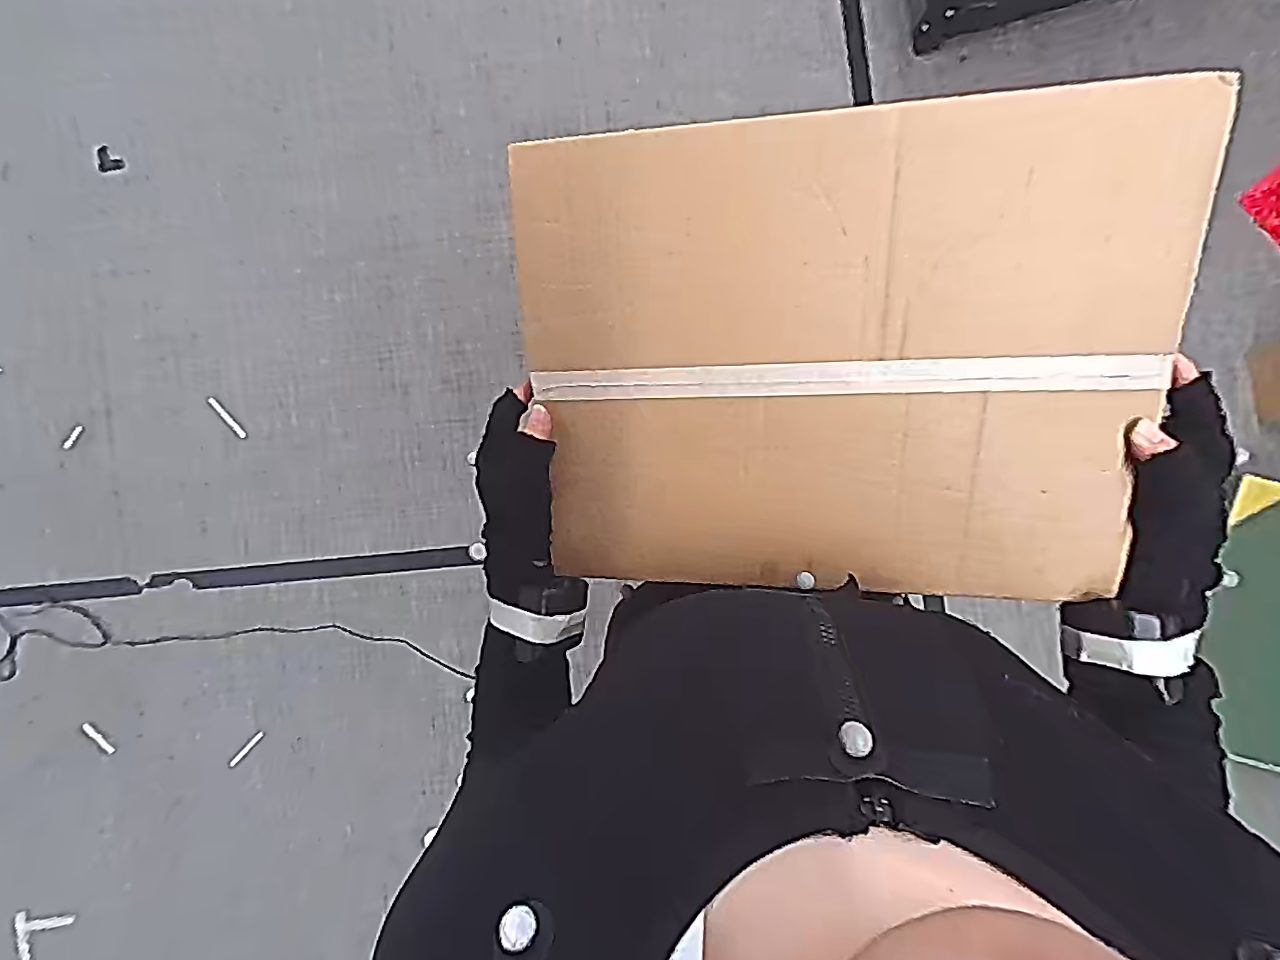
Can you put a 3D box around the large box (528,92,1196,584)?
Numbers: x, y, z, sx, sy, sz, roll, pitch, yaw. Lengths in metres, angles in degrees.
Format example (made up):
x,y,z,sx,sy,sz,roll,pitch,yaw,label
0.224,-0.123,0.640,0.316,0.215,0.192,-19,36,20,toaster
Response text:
x,y,z,sx,sy,sz,roll,pitch,yaw,label
0.148,-0.114,0.519,0.408,0.320,0.320,1,109,10,large box
